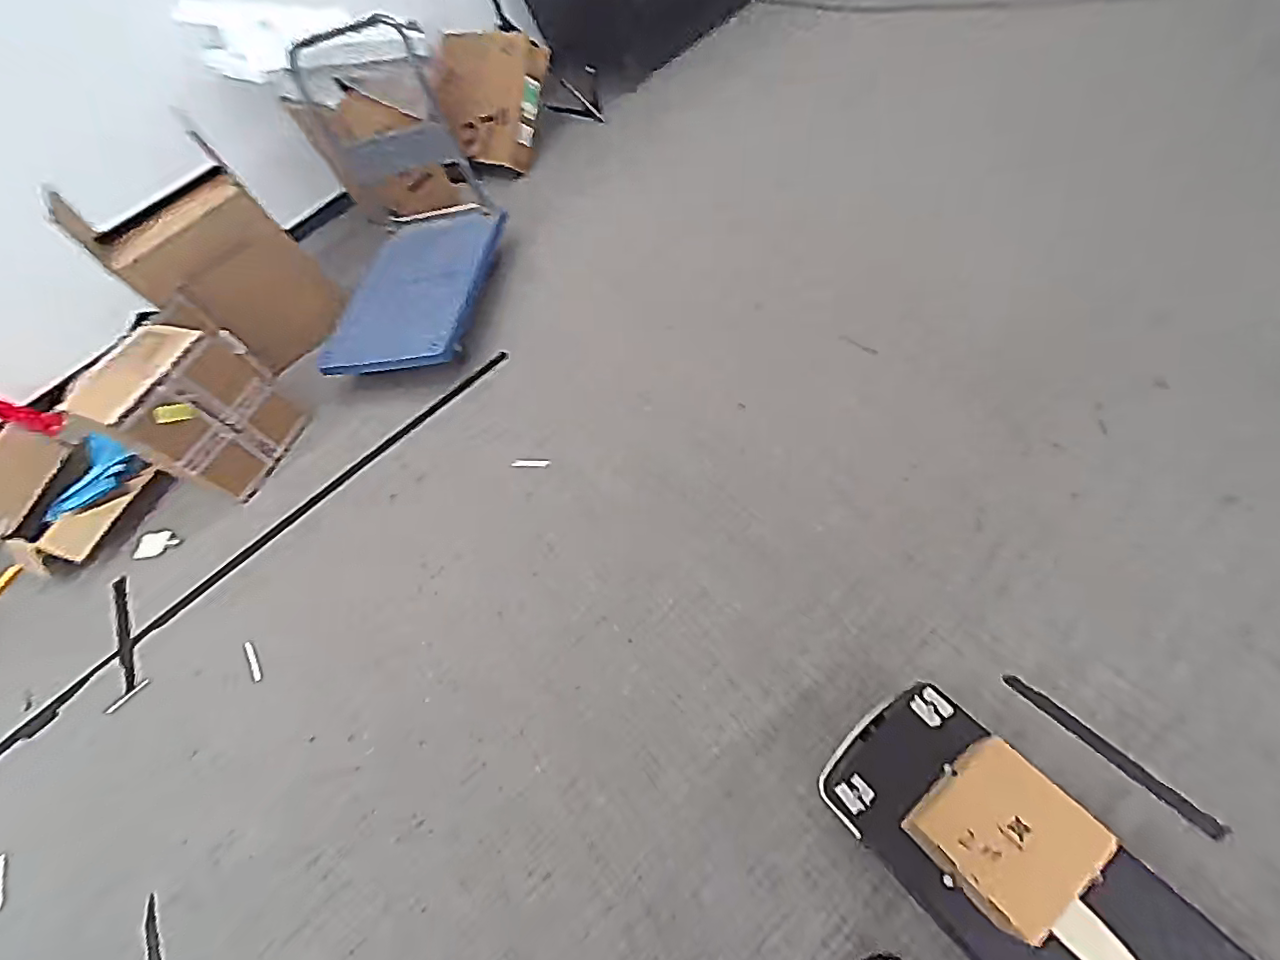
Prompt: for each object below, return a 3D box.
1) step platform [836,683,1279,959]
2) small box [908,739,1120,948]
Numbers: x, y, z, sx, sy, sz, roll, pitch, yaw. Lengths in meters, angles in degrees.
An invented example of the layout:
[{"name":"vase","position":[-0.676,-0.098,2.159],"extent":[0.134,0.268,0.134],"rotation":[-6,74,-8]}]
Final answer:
[{"name":"step platform","position":[0.656,0.662,0.845],"extent":[0.286,0.204,0.684],"rotation":[-40,55,-10]},{"name":"small box","position":[0.514,0.508,0.776],"extent":[0.179,0.176,0.168],"rotation":[-40,55,-9]}]
